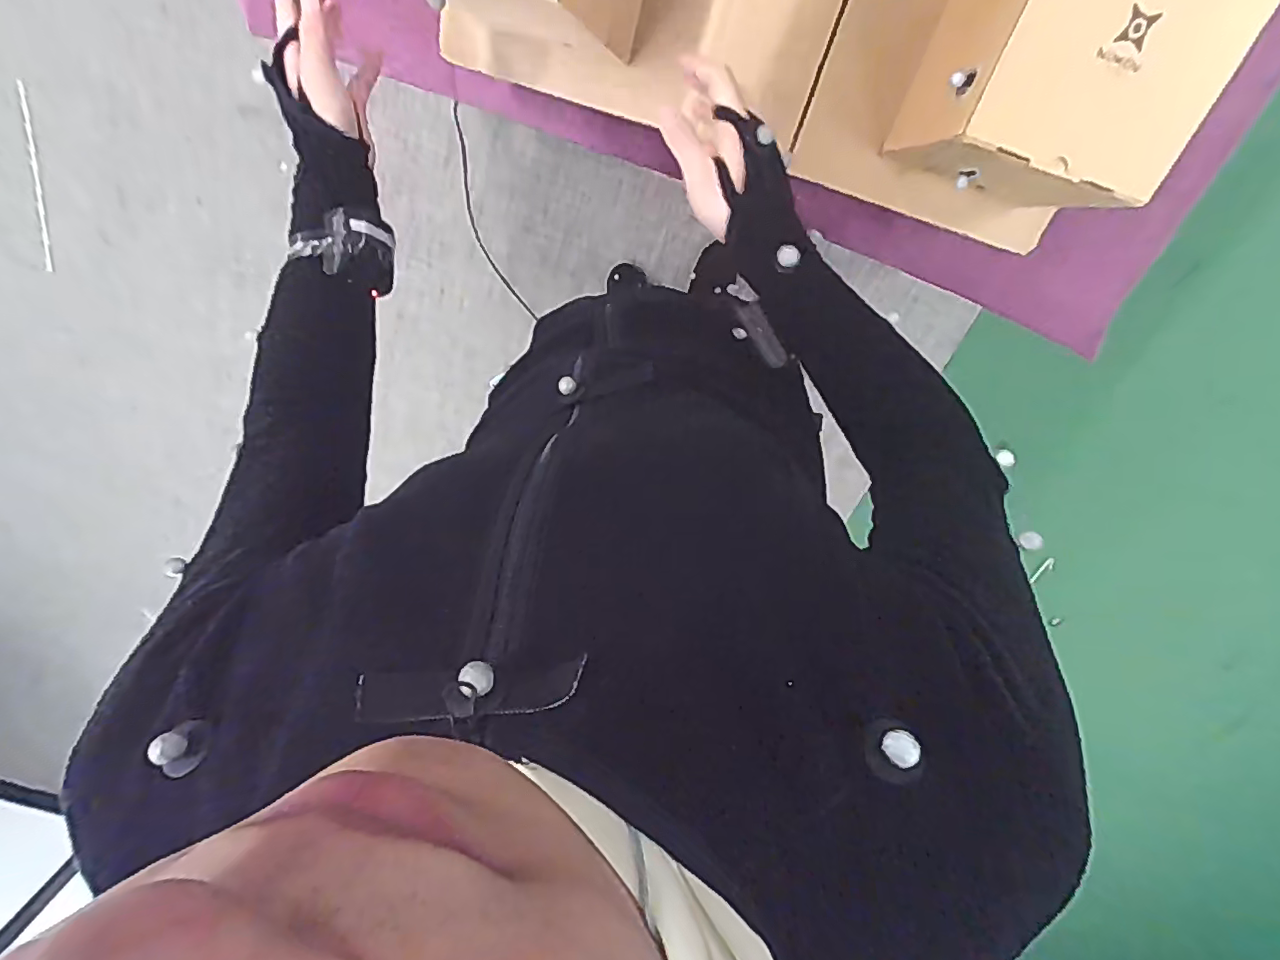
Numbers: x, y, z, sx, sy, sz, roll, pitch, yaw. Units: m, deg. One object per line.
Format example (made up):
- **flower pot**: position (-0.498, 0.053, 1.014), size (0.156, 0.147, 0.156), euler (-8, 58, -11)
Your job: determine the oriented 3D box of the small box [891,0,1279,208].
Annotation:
- **small box**: position (0.343, -0.345, 0.447), size (0.168, 0.176, 0.179), euler (15, 118, -7)
